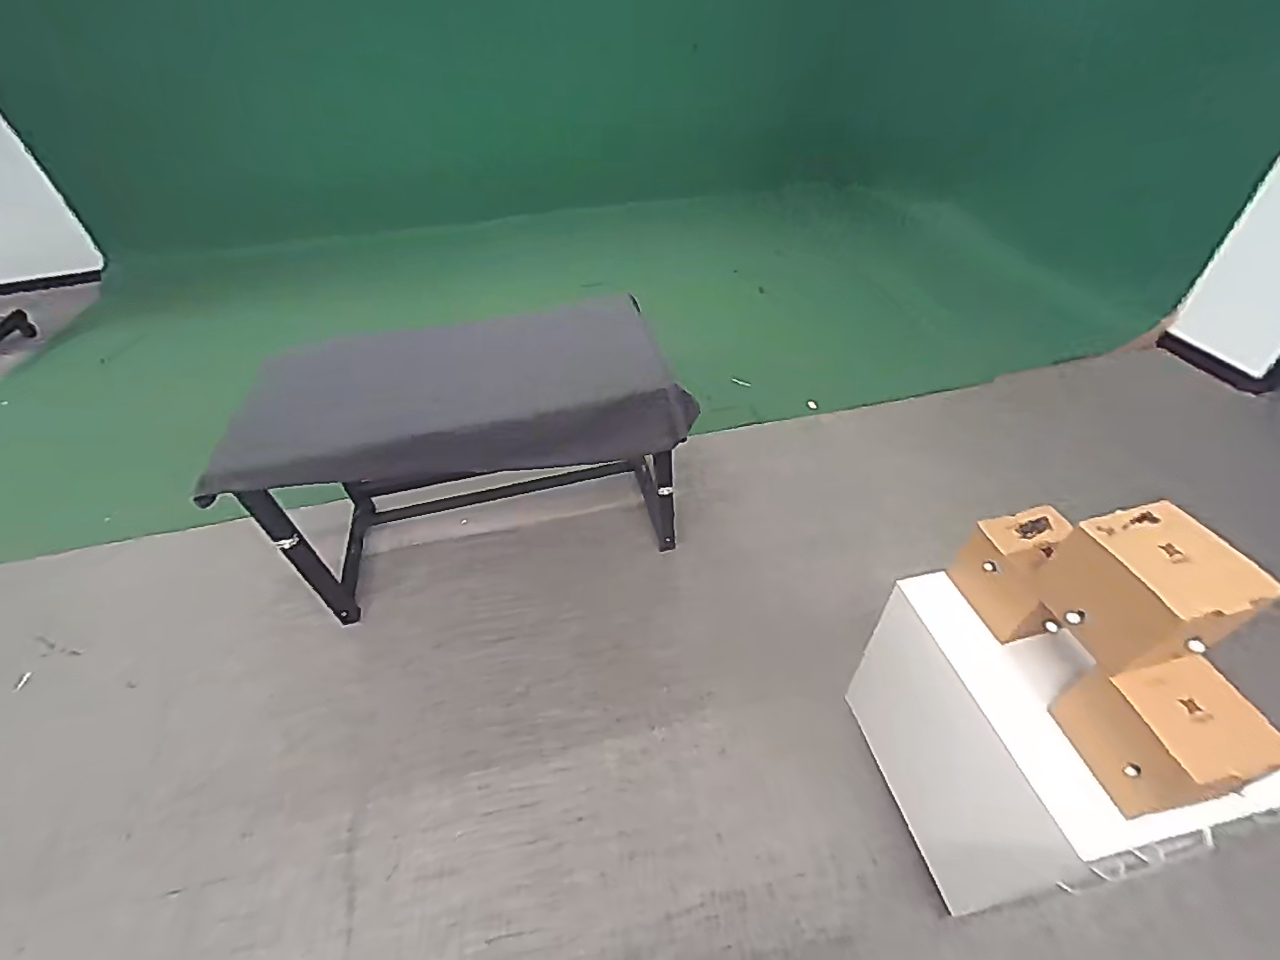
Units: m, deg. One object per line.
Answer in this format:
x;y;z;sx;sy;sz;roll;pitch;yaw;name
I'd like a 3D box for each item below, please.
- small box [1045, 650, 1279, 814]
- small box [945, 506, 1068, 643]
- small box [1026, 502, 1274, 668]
0.783;0.385;0.826;0.168;0.176;0.179;-9;43;-6;small box
0.728;0.181;1.036;0.168;0.176;0.179;-12;47;-7;small box
0.747;0.164;0.820;0.168;0.176;0.179;-12;46;-8;small box
